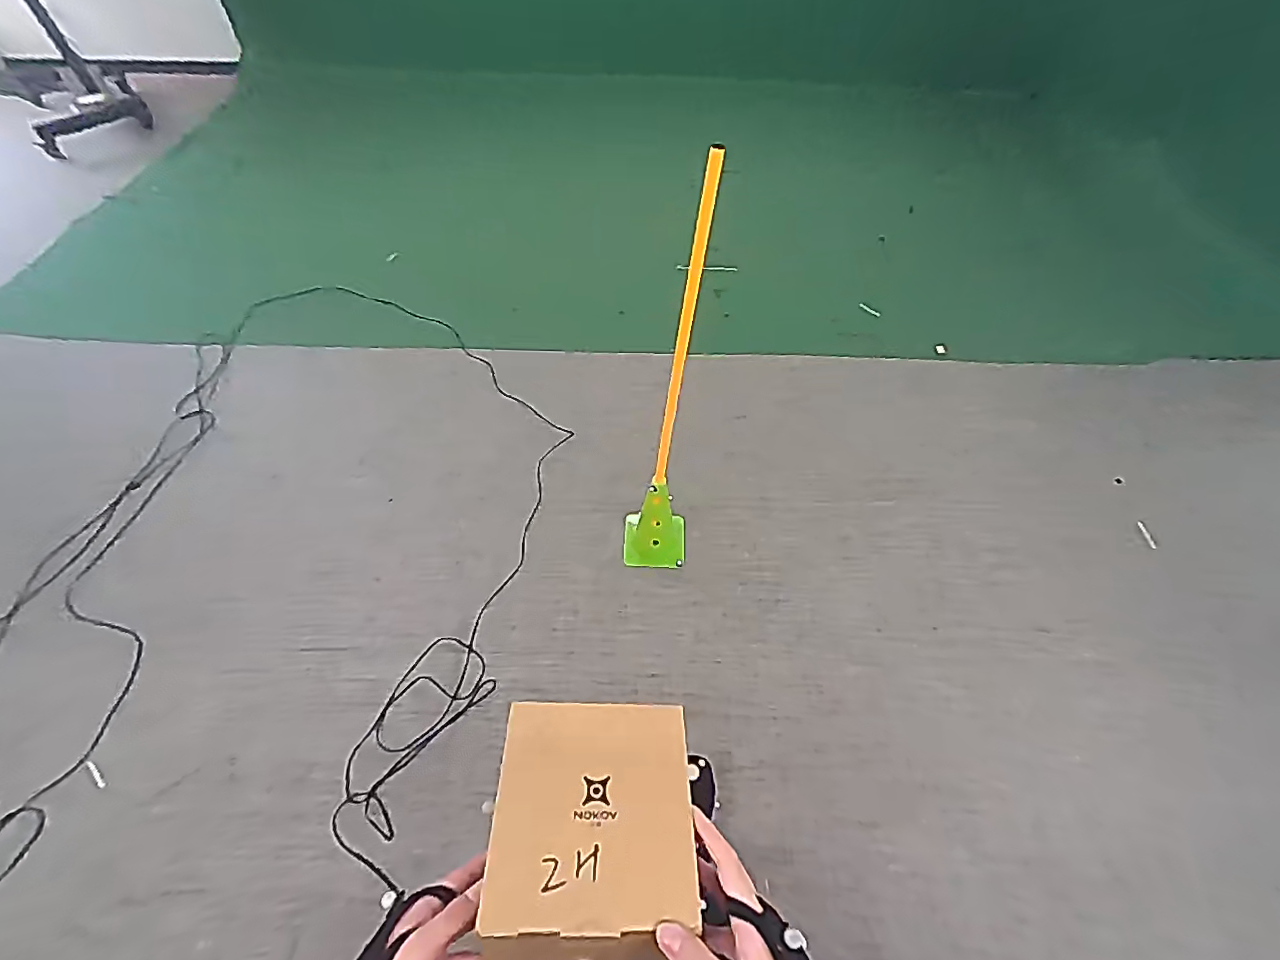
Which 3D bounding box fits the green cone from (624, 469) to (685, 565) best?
[{"bbox_3d":[0.049,0.089,1.660,0.202,0.368,0.200,2,53,1],"label":"green cone"}]
